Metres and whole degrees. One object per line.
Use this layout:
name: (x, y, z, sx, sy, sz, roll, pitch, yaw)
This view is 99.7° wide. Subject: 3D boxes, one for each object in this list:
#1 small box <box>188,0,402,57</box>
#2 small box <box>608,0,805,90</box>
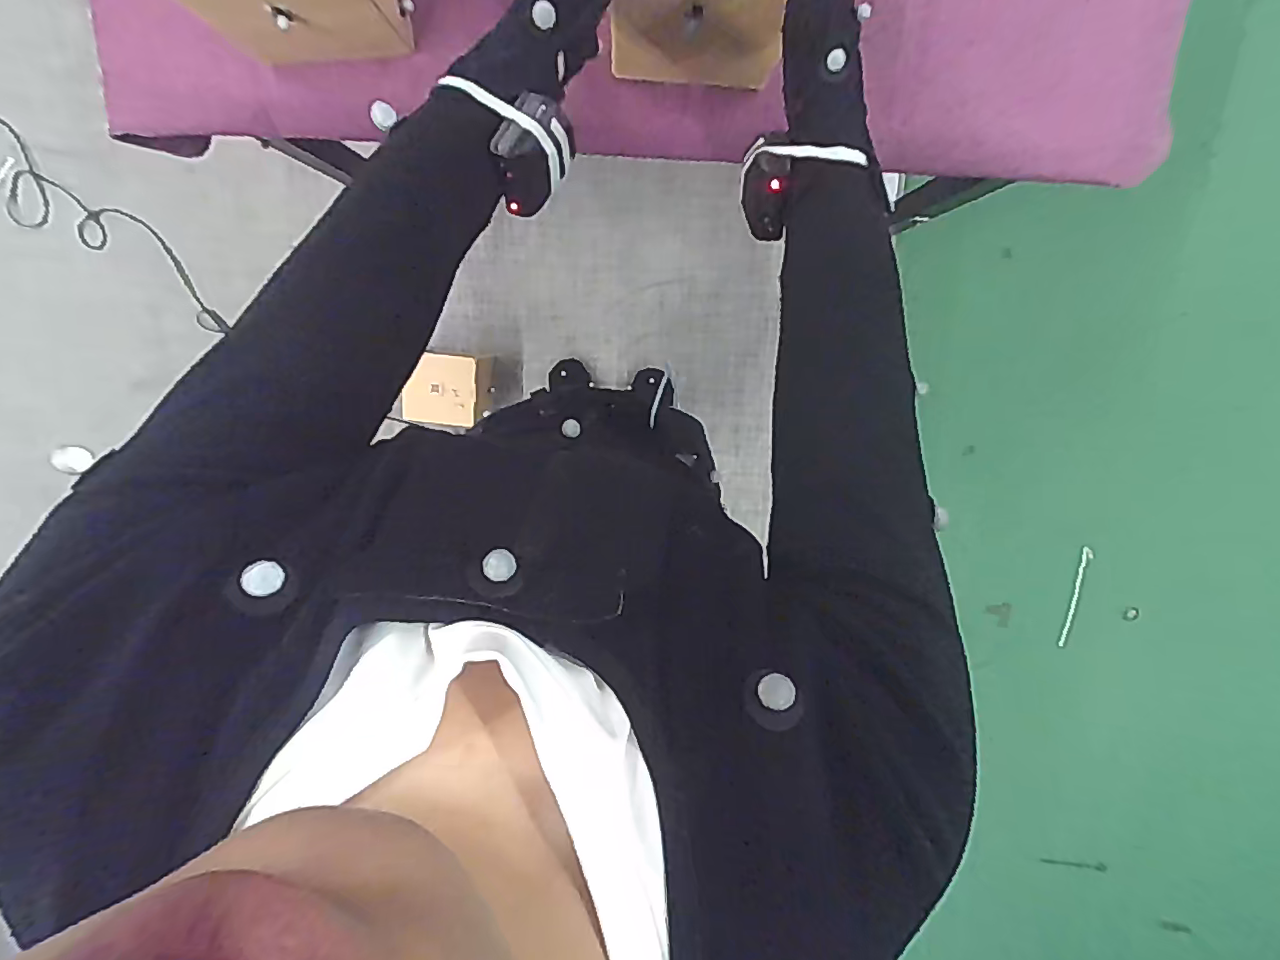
small box: (-0.349, -0.544, 0.520, 0.179, 0.176, 0.168, -3, 103, 1)
small box: (0.063, -0.515, 0.529, 0.179, 0.176, 0.168, 5, 103, -2)
